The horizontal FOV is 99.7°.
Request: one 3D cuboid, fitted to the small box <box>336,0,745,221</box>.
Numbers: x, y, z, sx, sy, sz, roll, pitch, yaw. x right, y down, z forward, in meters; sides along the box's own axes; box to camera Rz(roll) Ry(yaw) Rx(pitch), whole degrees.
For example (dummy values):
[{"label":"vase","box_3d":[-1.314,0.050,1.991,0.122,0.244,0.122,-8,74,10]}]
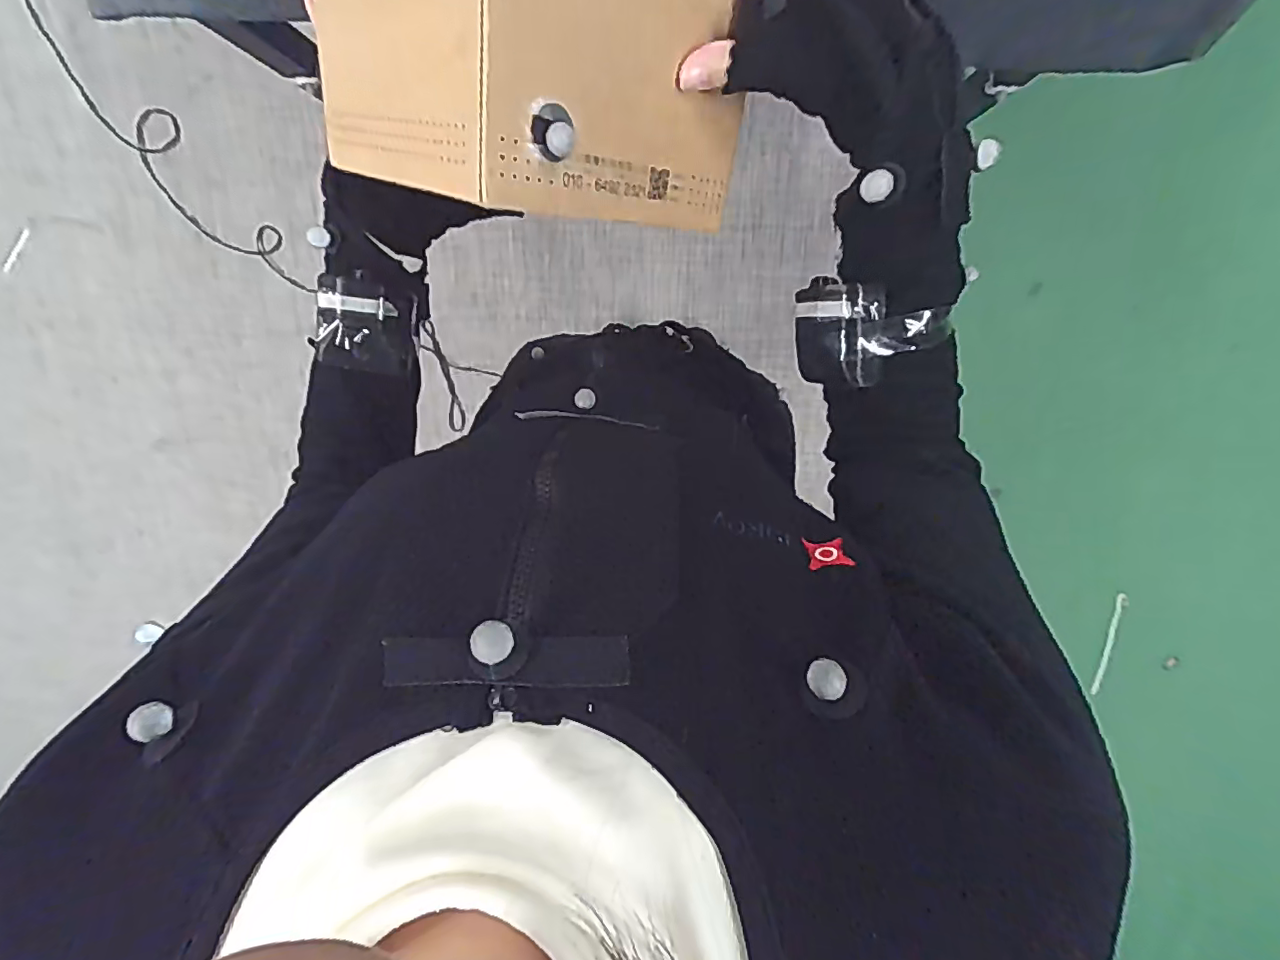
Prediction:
[{"label":"small box","box_3d":[-0.054,-0.250,0.302,0.179,0.168,0.176,31,124,37]}]
